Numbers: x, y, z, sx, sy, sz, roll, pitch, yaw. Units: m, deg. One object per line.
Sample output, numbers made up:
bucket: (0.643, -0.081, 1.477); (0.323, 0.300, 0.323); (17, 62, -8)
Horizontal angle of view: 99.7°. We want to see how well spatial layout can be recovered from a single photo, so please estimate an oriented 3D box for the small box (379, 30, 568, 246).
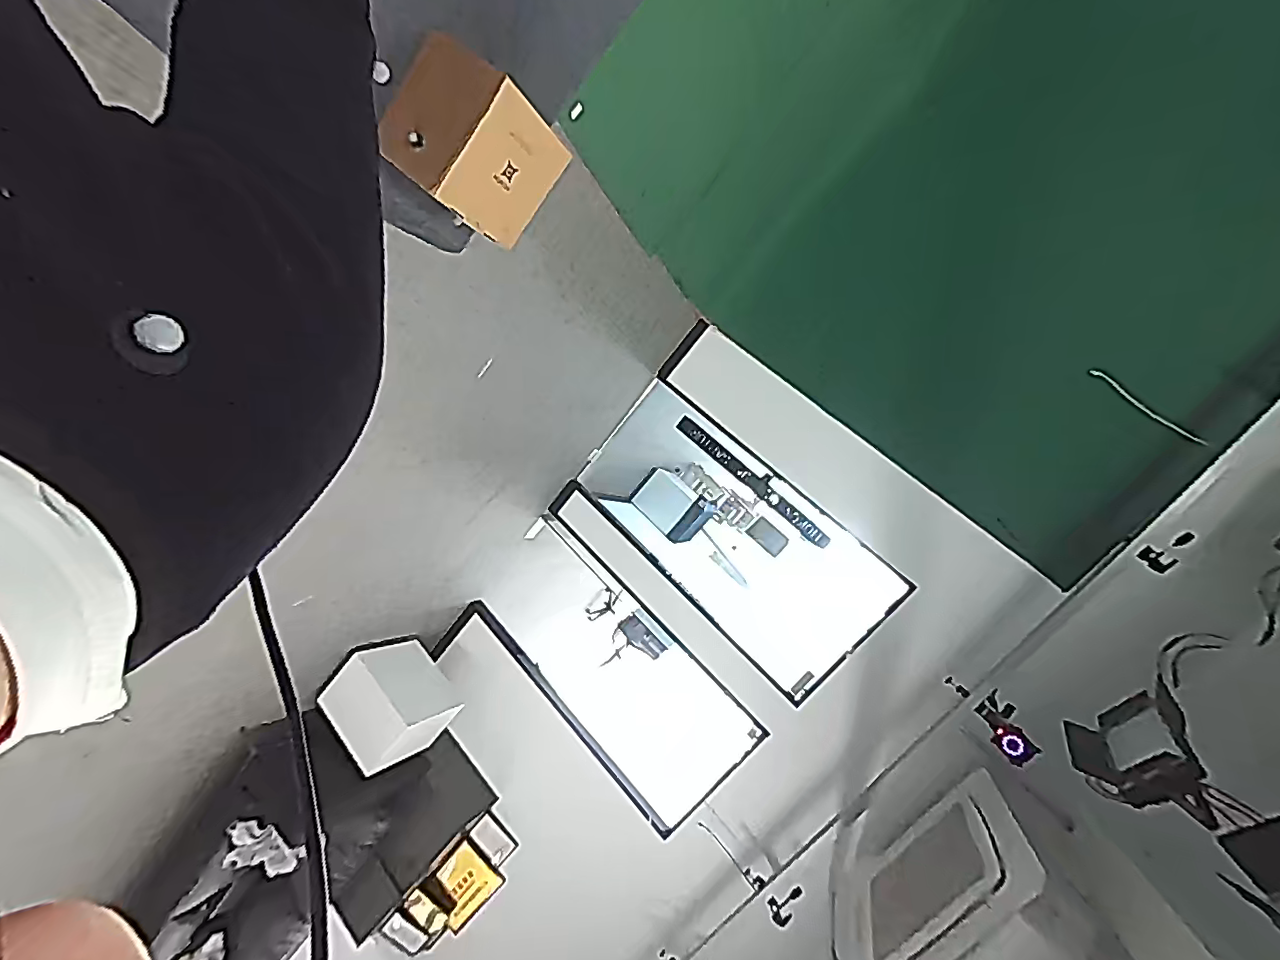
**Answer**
small box: (-0.247, -0.492, 0.792); (0.179, 0.176, 0.168); (-51, 161, 11)
